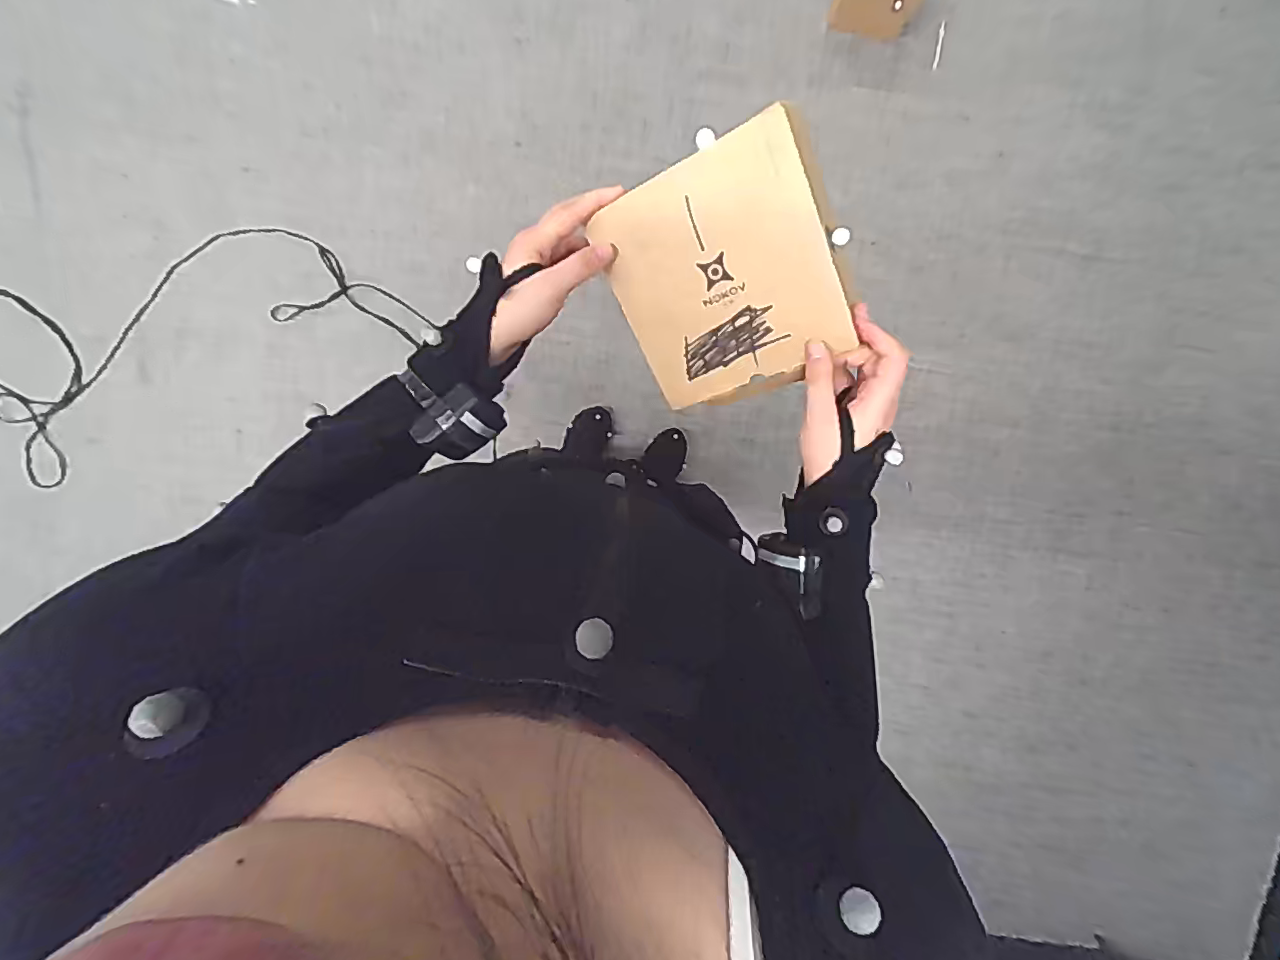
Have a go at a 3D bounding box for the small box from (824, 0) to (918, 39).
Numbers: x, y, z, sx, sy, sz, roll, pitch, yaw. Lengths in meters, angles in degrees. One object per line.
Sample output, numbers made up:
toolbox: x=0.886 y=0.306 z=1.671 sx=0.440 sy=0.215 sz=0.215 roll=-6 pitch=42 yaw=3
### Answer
small box: x=0.556 y=-1.175 z=1.252 sx=0.179 sy=0.176 sz=0.168 roll=13 pitch=97 yaw=-1
